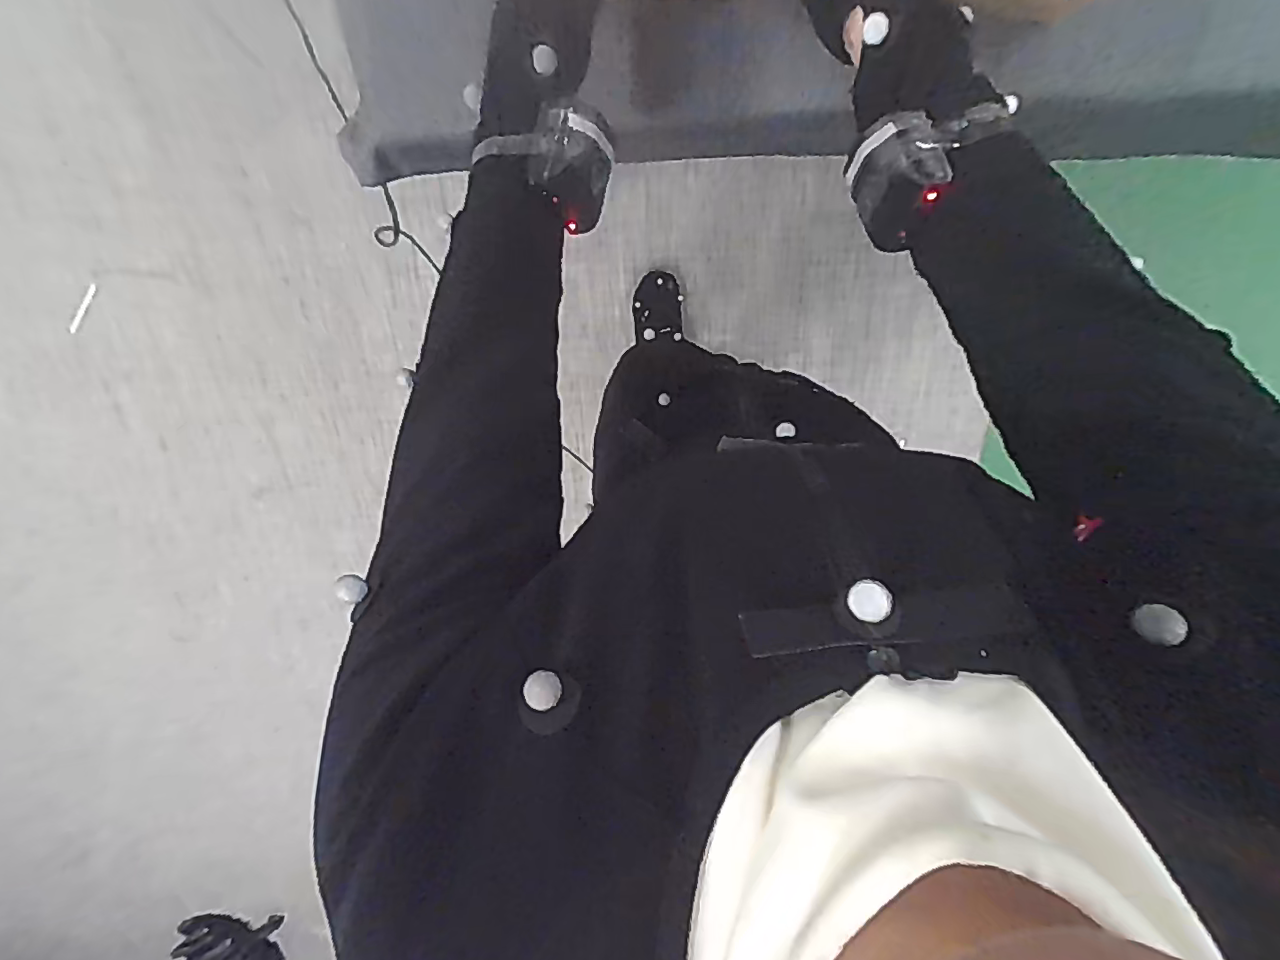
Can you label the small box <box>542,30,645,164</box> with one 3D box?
[{"bbox_3d":[-0.086,-0.753,1.086,0.168,0.176,0.179,-12,113,3],"label":"small box"}]
